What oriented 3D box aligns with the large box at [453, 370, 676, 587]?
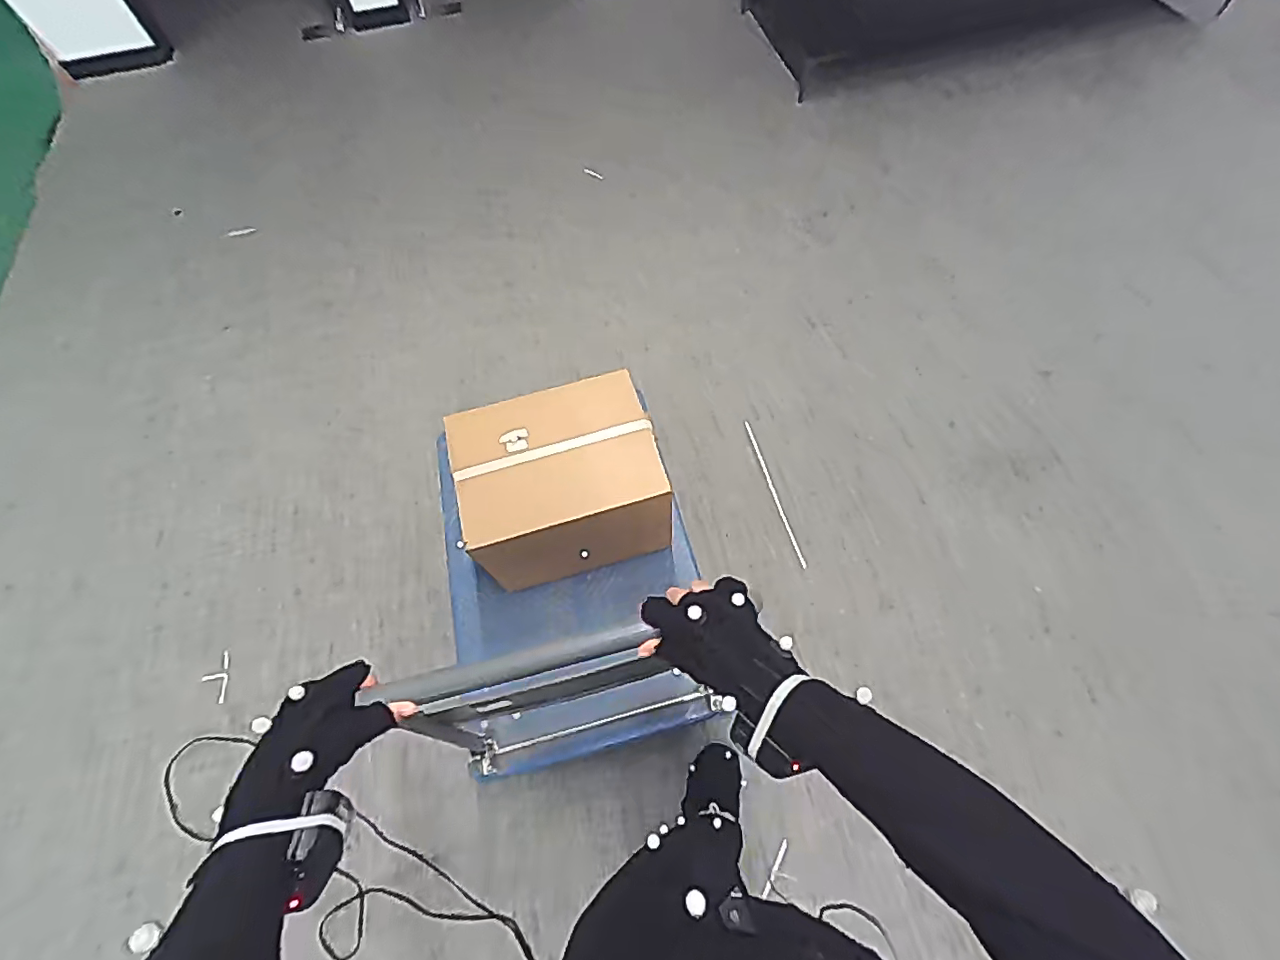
[{"bbox_3d":[-0.154,0.009,1.228,0.408,0.320,0.320,-17,63,-5],"label":"large box"}]
